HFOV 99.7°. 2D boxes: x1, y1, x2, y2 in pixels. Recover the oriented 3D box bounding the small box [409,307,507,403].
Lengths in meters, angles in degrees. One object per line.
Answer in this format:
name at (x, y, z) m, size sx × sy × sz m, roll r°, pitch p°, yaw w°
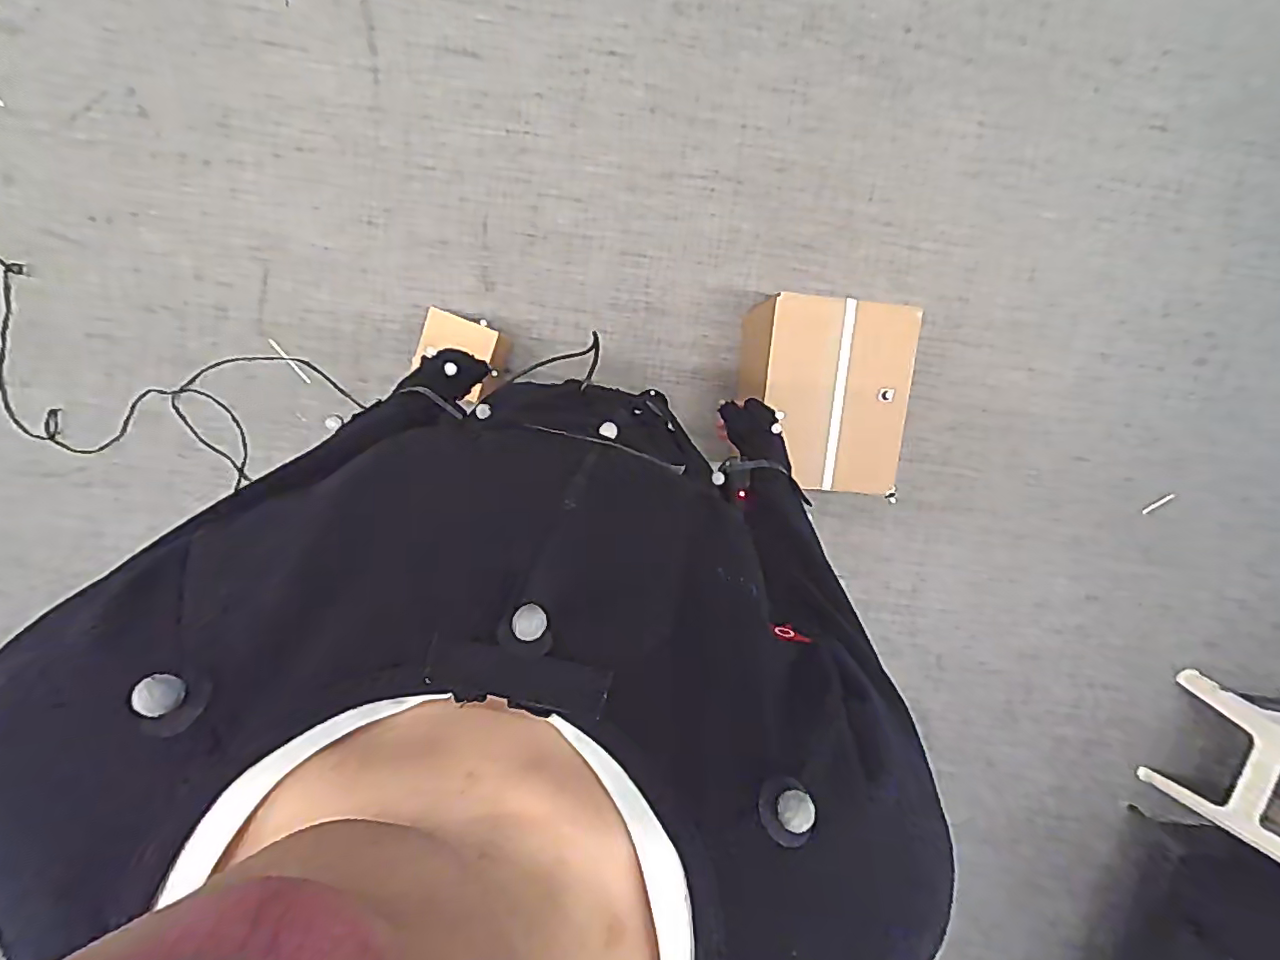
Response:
small box at (-0.439, -0.304, 1.333) m, size 0.168 × 0.176 × 0.179 m, roll 20°, pitch 100°, yaw -5°
